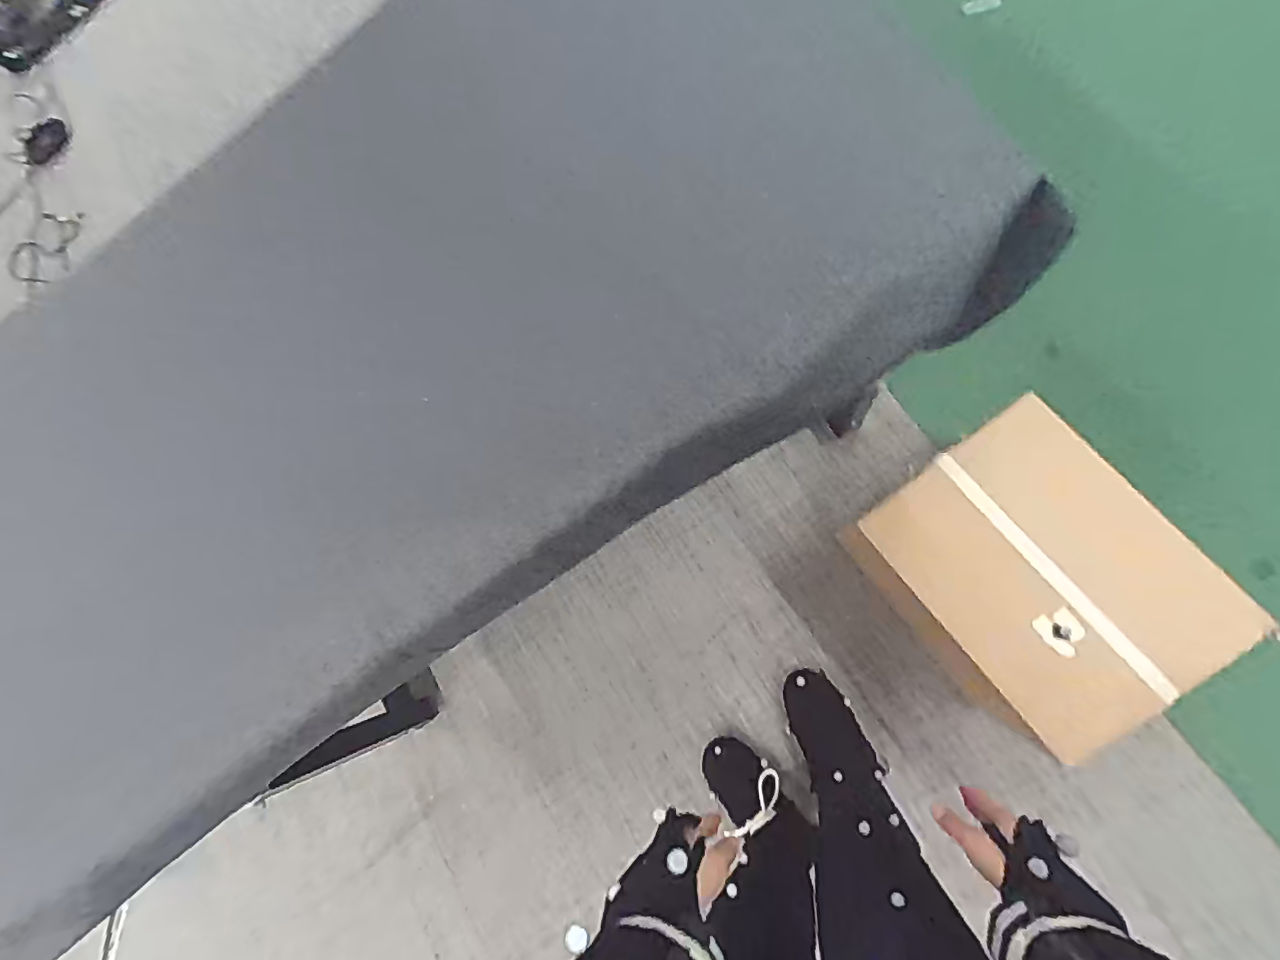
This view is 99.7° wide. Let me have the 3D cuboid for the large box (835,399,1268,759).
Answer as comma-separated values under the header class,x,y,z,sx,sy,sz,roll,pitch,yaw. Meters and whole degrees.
class,x,y,z,sx,sy,sz,roll,pitch,yaw
large box,0.590,0.145,0.885,0.320,0.320,0.408,-39,74,5
